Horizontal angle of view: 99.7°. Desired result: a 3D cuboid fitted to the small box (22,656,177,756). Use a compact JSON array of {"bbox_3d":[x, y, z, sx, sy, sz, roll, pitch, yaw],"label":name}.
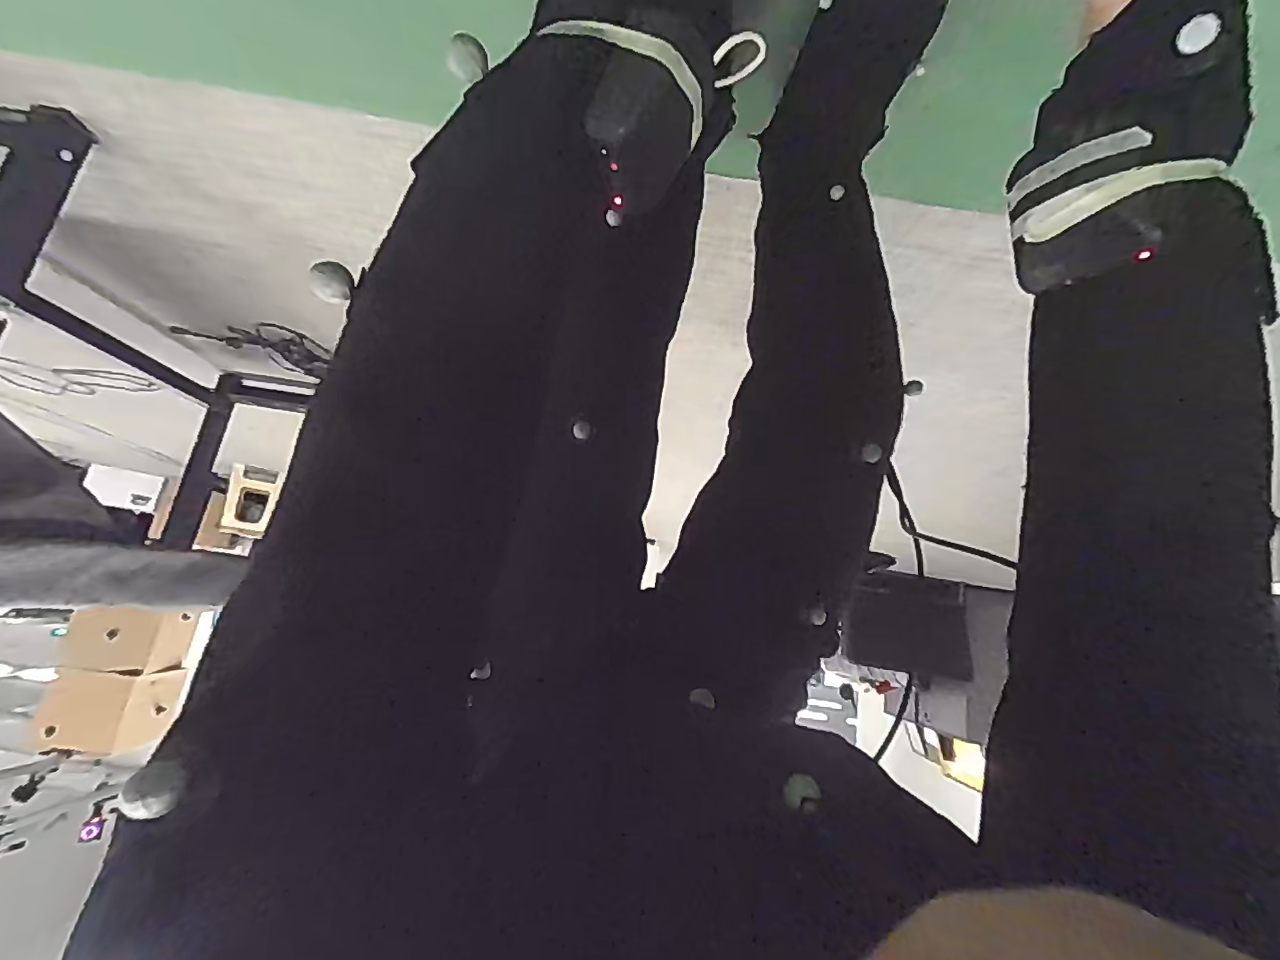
[{"bbox_3d":[-1.210,0.506,1.231,0.179,0.176,0.168,10,167,-3],"label":"small box"}]
